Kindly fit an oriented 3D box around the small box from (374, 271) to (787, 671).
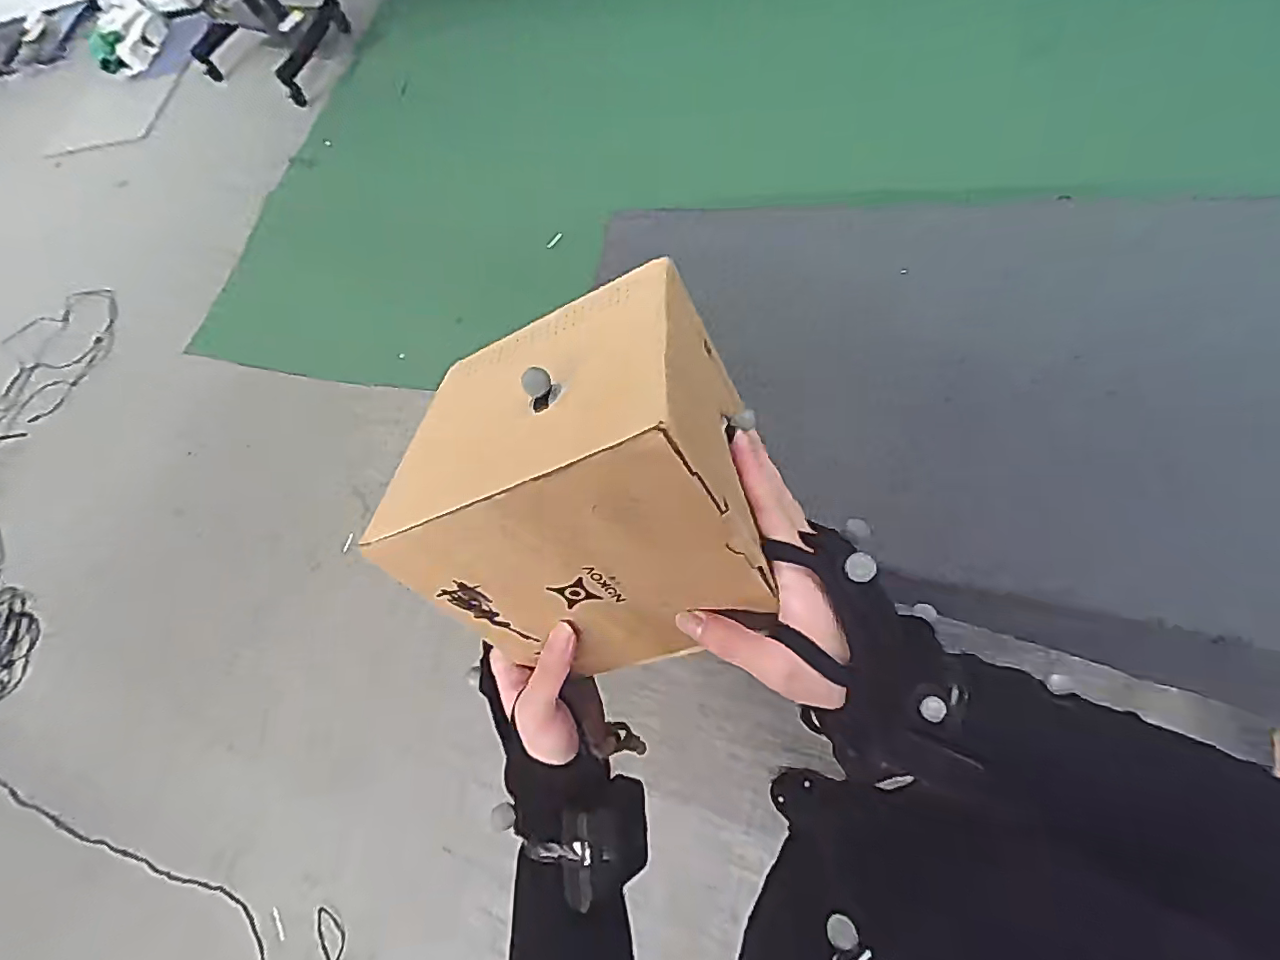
[{"bbox_3d":[-0.025,-0.006,0.356,0.179,0.168,0.176,-21,37,20],"label":"small box"}]
